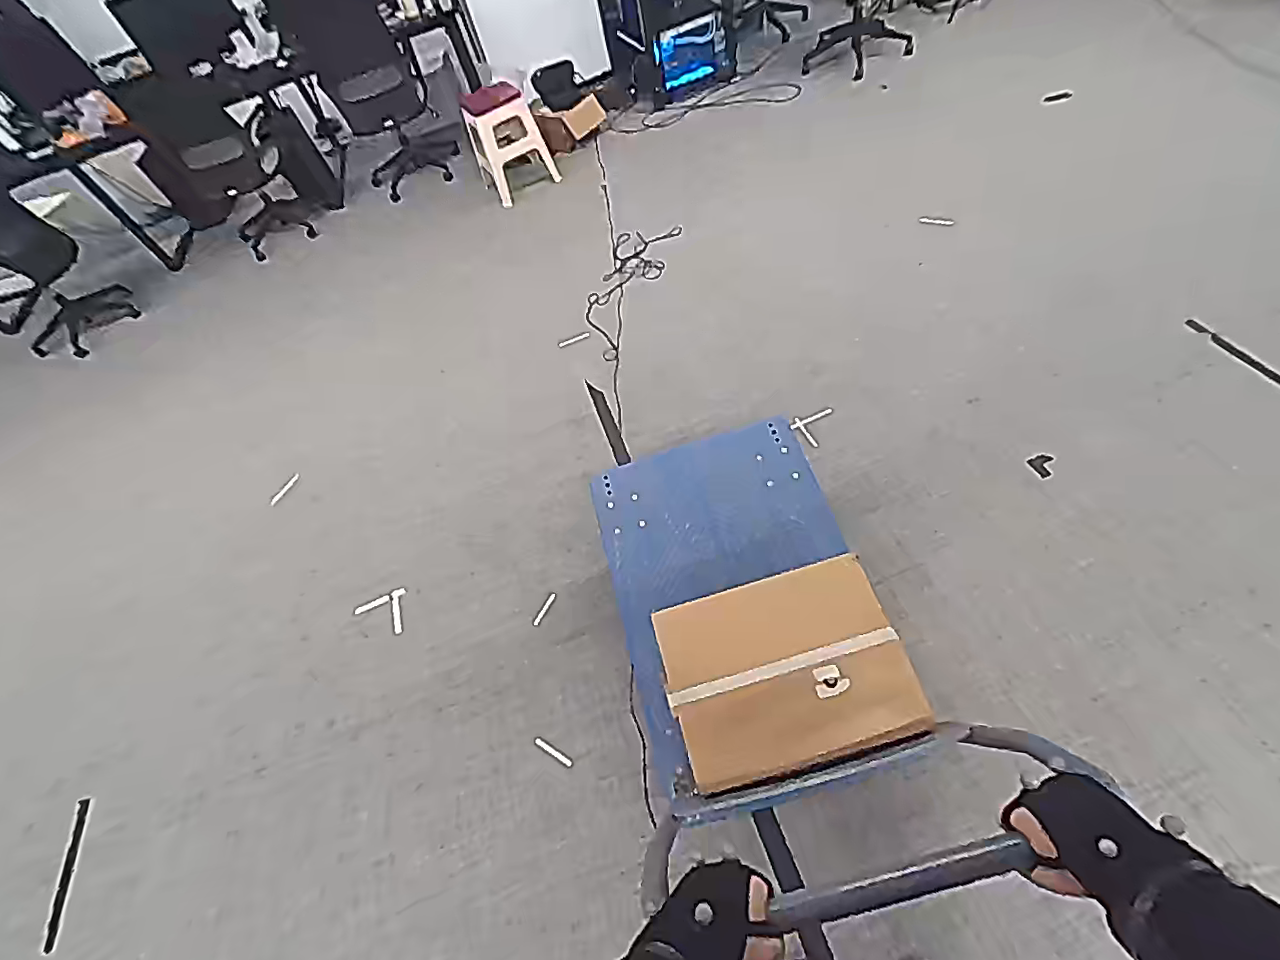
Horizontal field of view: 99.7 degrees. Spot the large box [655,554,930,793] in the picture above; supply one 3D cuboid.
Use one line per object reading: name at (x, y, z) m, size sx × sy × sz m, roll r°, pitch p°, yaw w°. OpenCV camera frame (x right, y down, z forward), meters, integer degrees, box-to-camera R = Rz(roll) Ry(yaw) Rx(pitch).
large box at (0.277, 0.398, 1.095) m, size 0.408 × 0.320 × 0.320 m, roll -18°, pitch 63°, yaw 1°
